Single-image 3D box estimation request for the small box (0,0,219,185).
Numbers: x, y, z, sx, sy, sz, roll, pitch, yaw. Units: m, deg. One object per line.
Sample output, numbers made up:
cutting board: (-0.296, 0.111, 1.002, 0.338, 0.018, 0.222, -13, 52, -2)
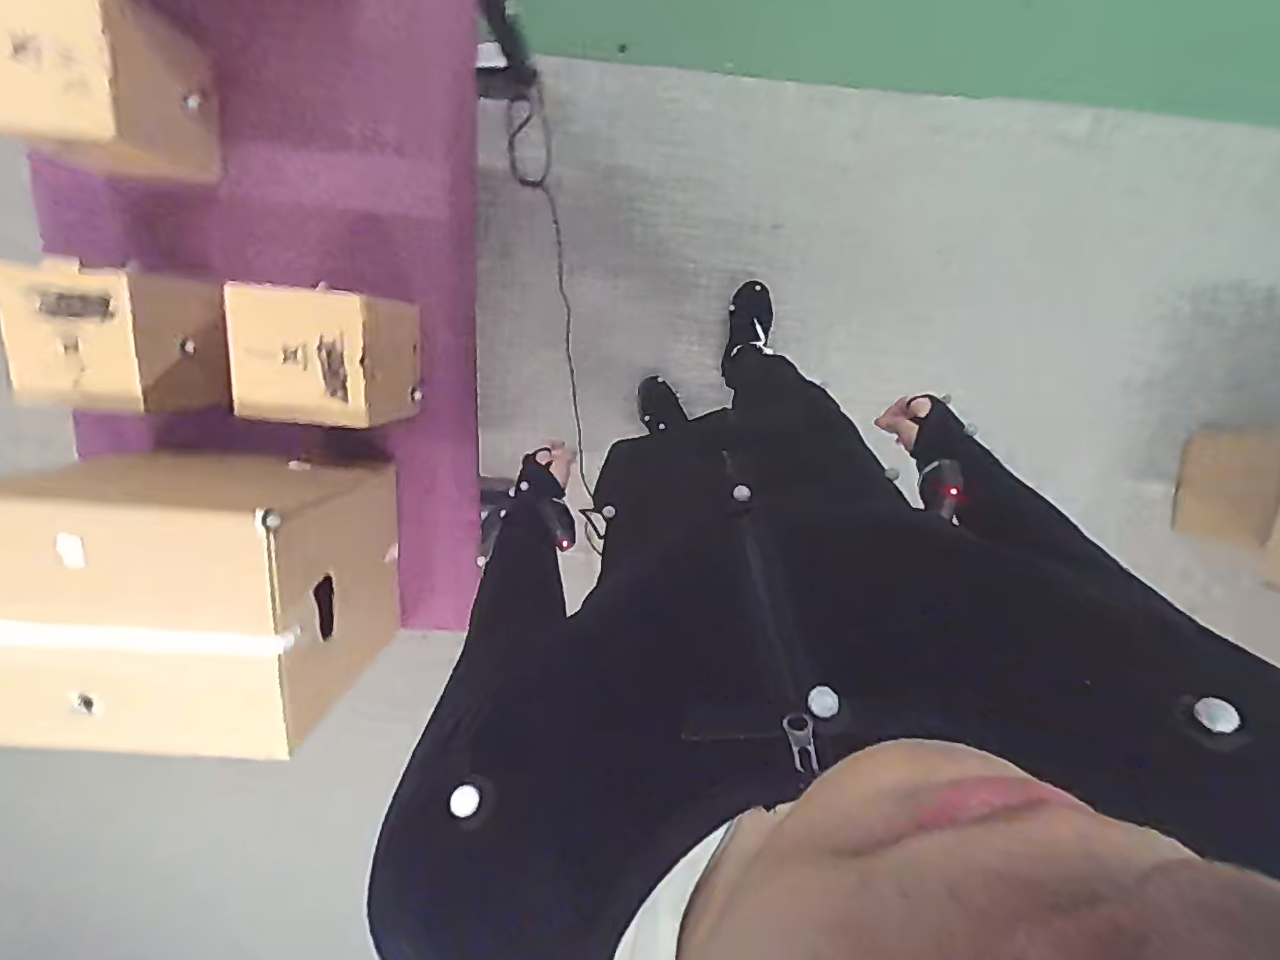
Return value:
small box: (-0.687, -0.491, 0.683, 0.179, 0.176, 0.168, 5, 103, -1)
